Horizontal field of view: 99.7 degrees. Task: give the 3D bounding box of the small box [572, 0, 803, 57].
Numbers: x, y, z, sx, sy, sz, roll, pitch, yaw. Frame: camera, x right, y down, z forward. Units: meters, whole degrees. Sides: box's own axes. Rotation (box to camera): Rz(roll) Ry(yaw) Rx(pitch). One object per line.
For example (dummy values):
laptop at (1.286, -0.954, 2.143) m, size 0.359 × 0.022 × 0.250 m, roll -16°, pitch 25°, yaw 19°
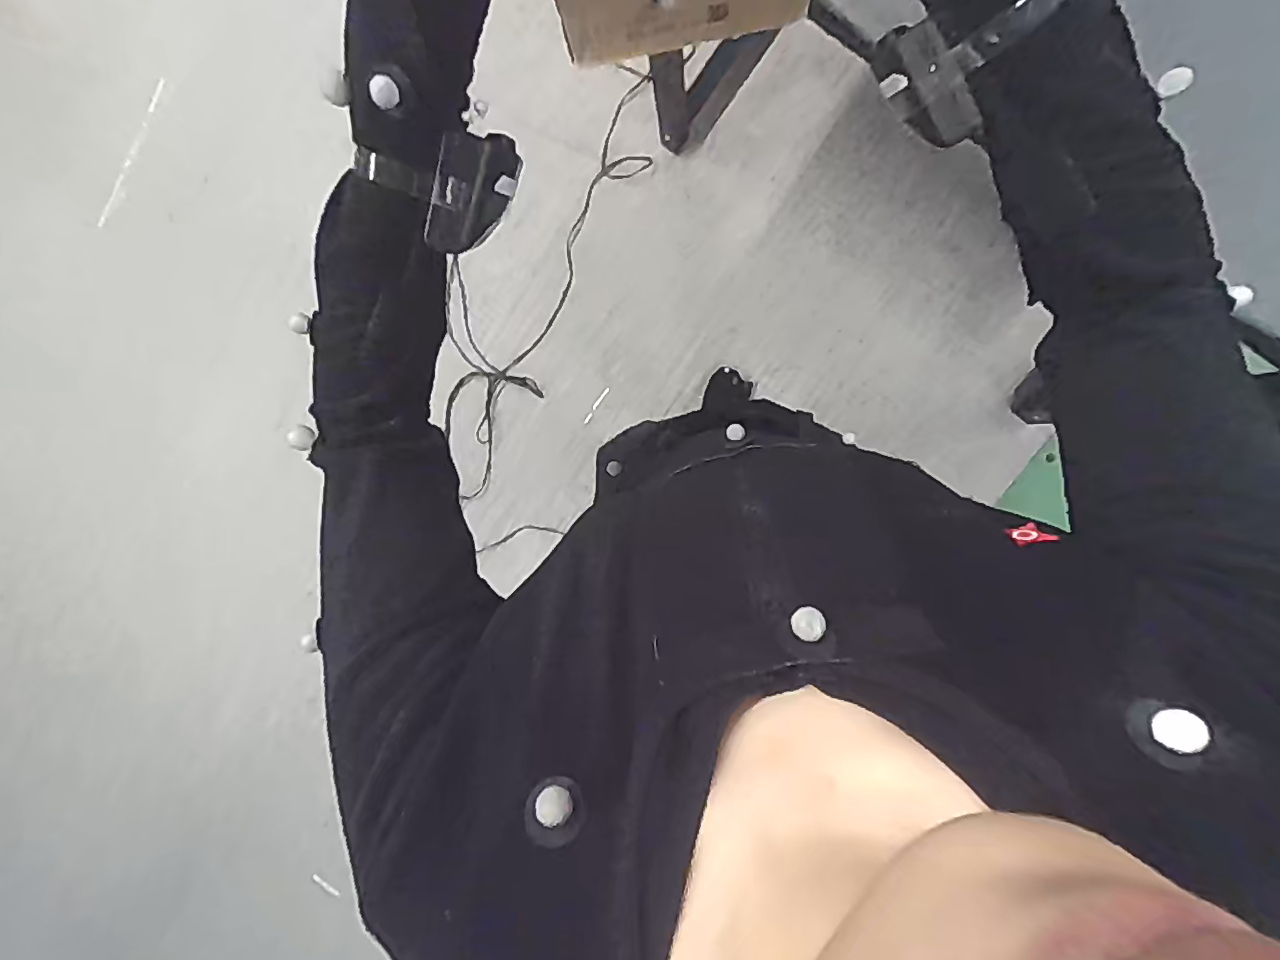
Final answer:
small box at (0.019, -0.399, 0.307) m, size 0.168 × 0.176 × 0.179 m, roll -8°, pitch 94°, yaw 6°
